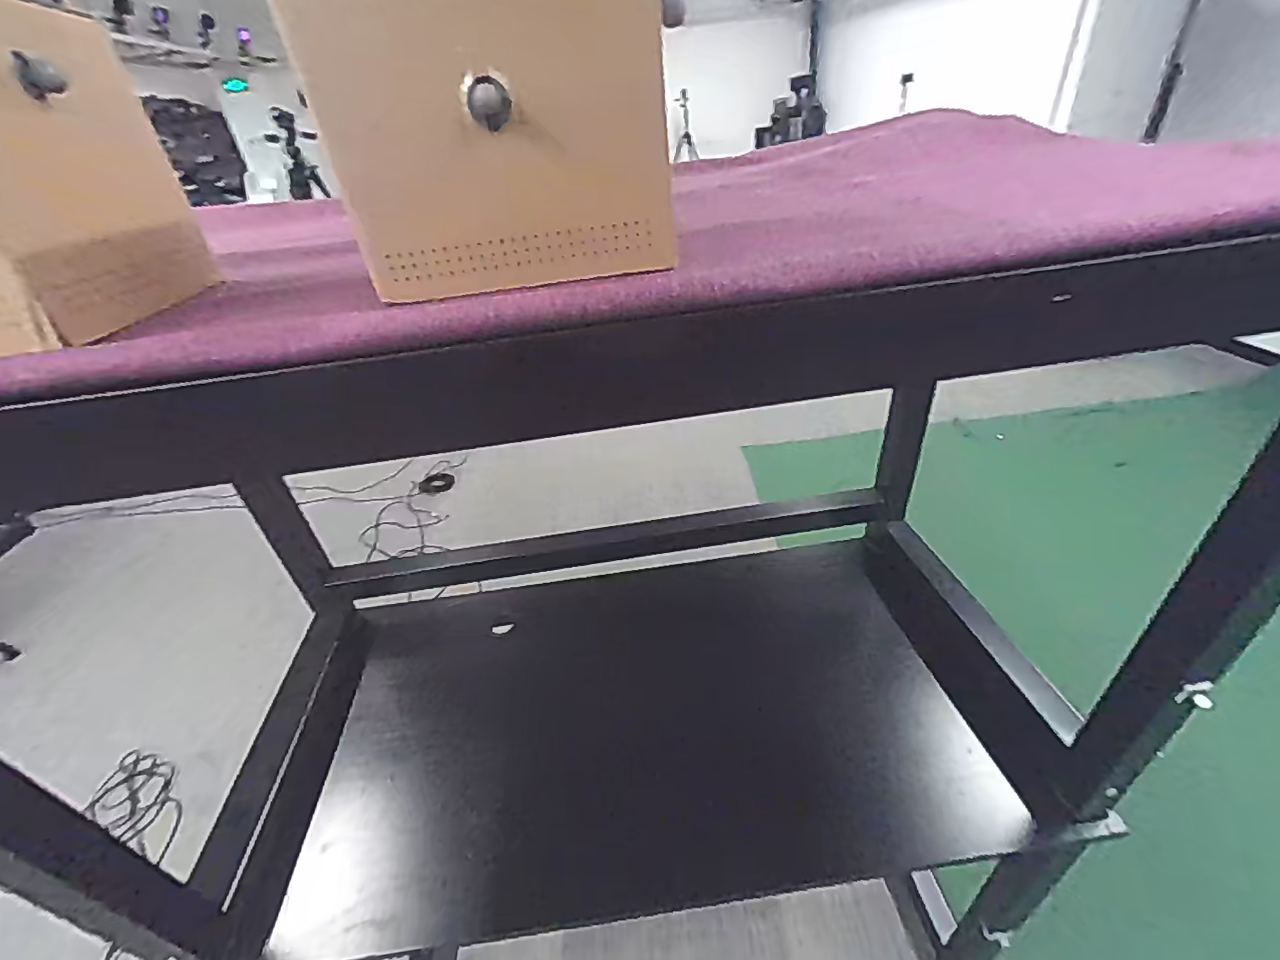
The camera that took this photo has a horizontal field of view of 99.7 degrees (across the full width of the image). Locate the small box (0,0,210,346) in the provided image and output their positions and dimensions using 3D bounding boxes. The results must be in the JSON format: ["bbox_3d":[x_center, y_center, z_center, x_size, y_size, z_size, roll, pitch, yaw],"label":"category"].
[{"bbox_3d":[-0.402,-0.179,0.313,0.168,0.176,0.179,-9,33,-5],"label":"small box"}]
